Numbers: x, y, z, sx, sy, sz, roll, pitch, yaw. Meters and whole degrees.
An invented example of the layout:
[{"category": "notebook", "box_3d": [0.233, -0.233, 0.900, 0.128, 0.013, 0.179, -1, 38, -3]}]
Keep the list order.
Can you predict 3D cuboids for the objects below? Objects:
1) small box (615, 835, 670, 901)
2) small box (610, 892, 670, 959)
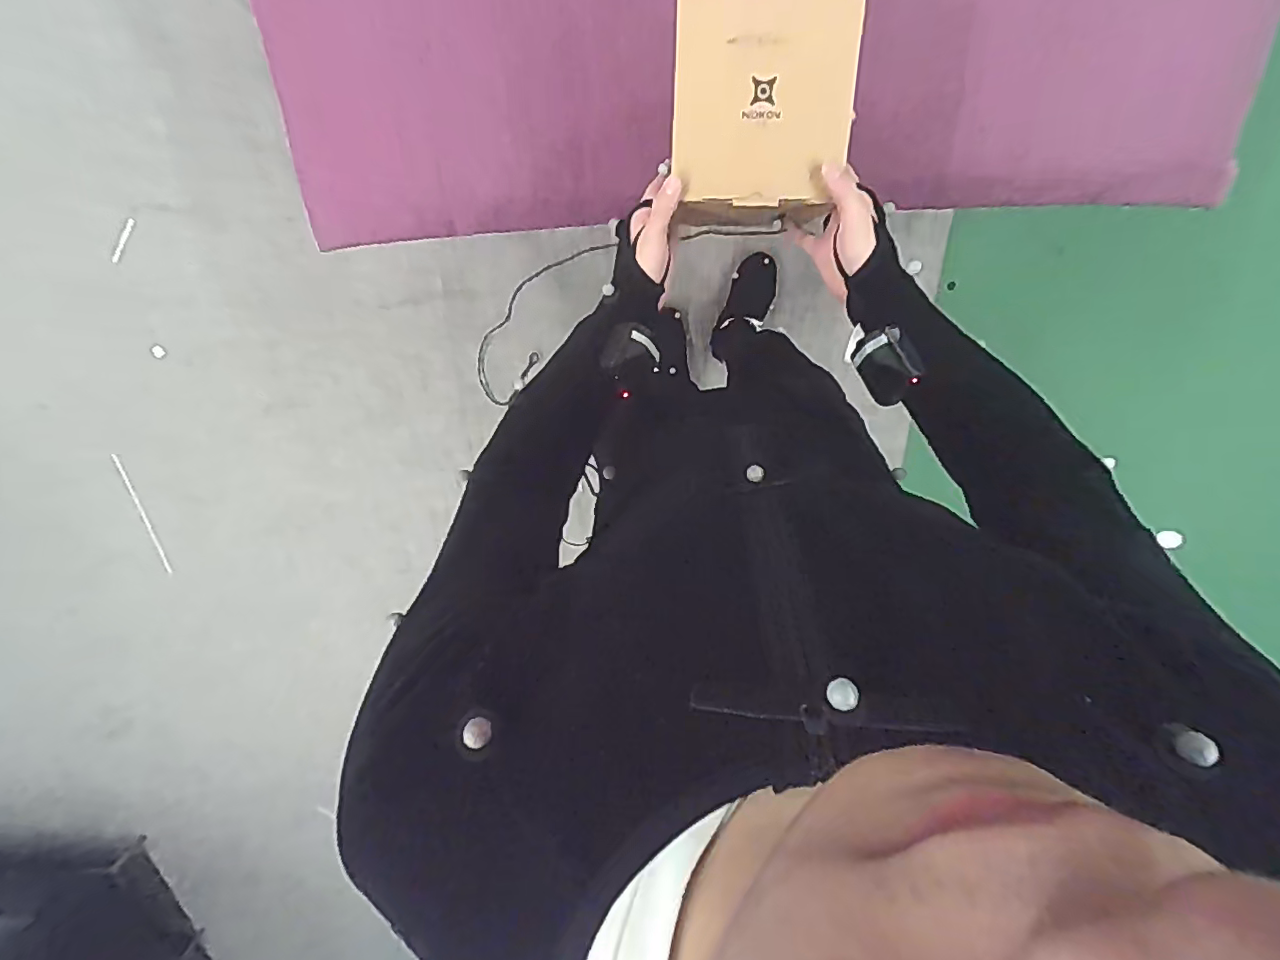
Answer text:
[{"category": "small box", "box_3d": [0.009, 1.272, 1.722, 0.168, 0.176, 0.179, 3, 116, 2]}, {"category": "small box", "box_3d": [-0.001, 1.341, 1.574, 0.168, 0.176, 0.179, 4, 115, 3]}]
